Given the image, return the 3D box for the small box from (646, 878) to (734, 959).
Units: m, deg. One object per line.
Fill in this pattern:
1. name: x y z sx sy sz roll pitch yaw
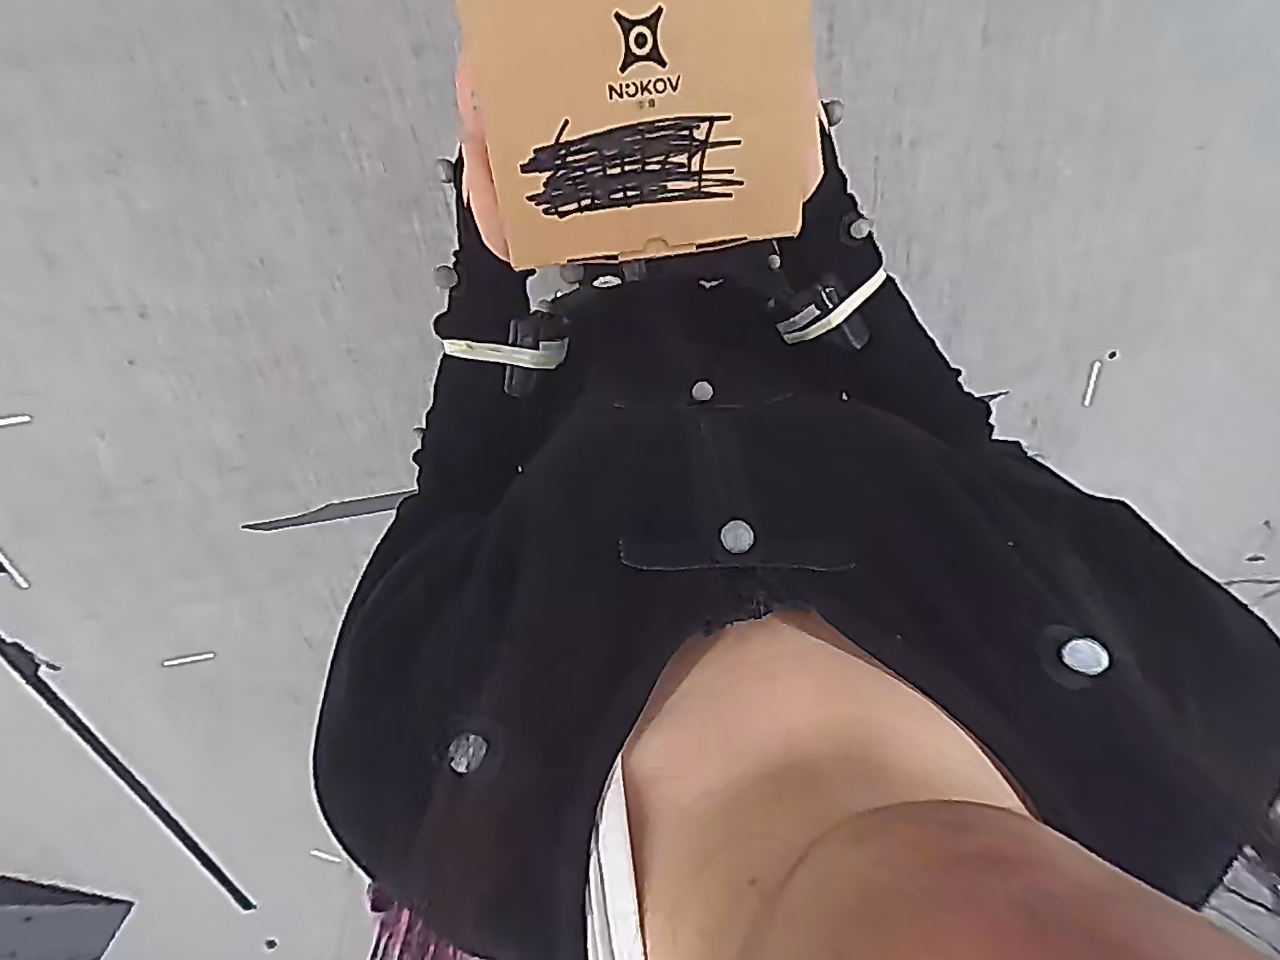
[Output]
1. small box: 0.110 1.029 1.201 0.168 0.176 0.179 -9 117 -5
